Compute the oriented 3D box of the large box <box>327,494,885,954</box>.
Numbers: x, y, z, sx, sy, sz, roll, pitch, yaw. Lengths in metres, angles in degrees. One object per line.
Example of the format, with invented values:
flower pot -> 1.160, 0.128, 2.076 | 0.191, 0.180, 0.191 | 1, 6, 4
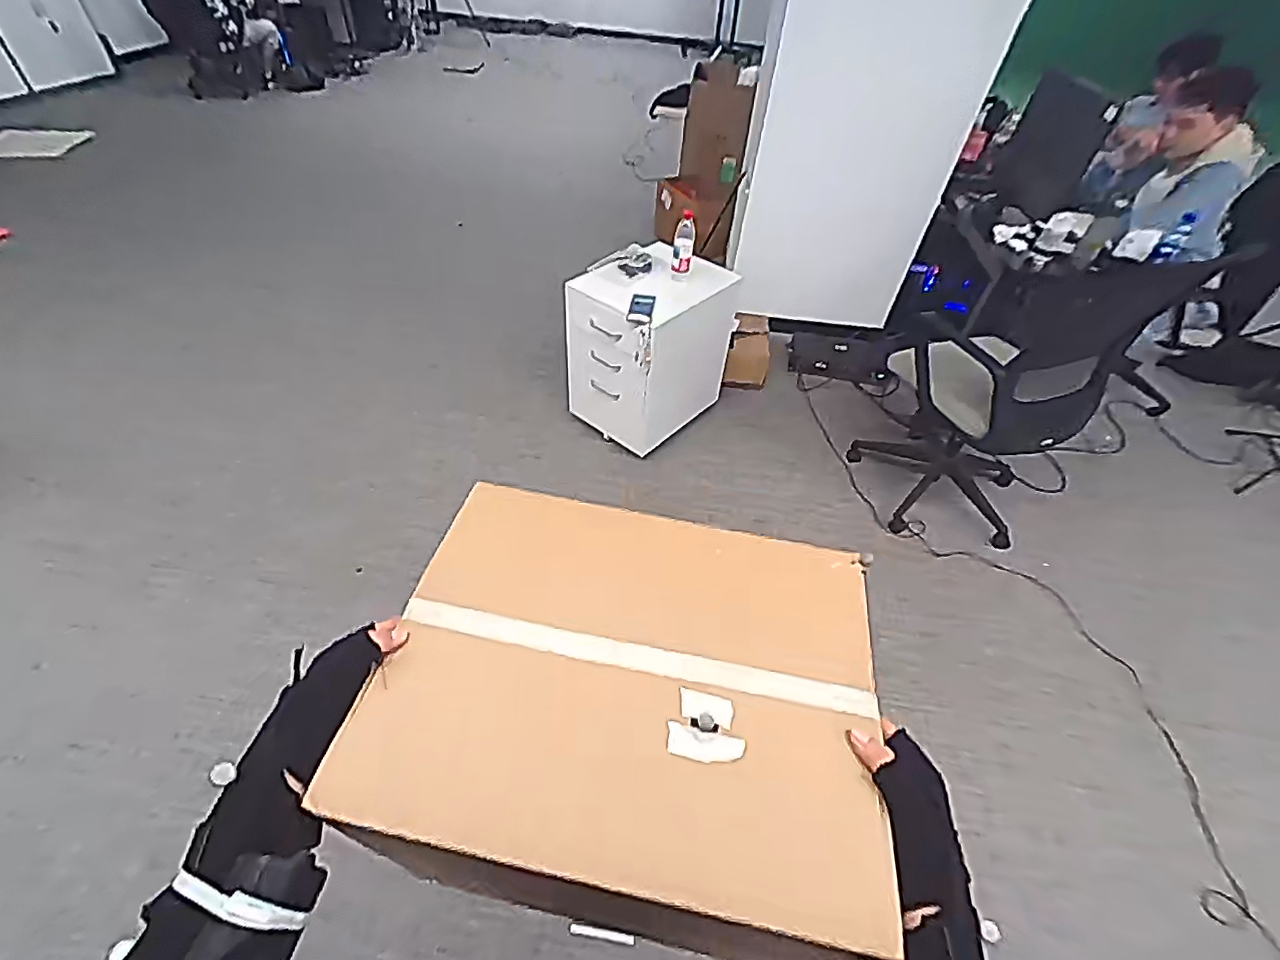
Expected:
large box -> -0.016, 0.257, 0.579 | 0.408, 0.320, 0.320 | 11, 48, 5
